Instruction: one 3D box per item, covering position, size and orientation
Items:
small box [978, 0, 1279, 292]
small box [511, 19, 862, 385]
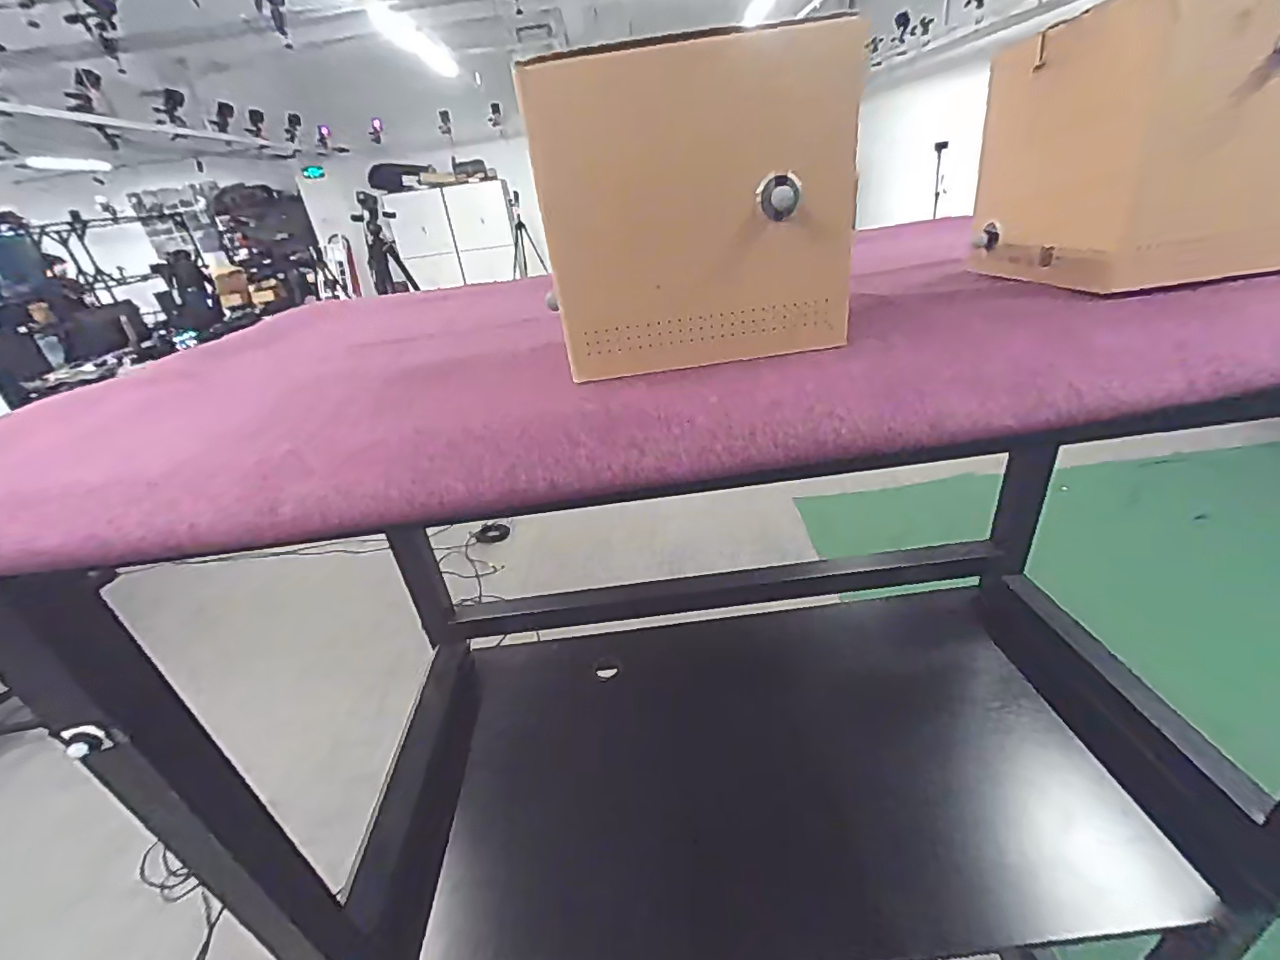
[{"bbox_3d":[0.371,-0.237,0.383,0.179,0.176,0.168,-7,27,2],"label":"small box"},{"bbox_3d":[0.028,-0.178,0.369,0.179,0.176,0.168,-9,29,0],"label":"small box"}]
